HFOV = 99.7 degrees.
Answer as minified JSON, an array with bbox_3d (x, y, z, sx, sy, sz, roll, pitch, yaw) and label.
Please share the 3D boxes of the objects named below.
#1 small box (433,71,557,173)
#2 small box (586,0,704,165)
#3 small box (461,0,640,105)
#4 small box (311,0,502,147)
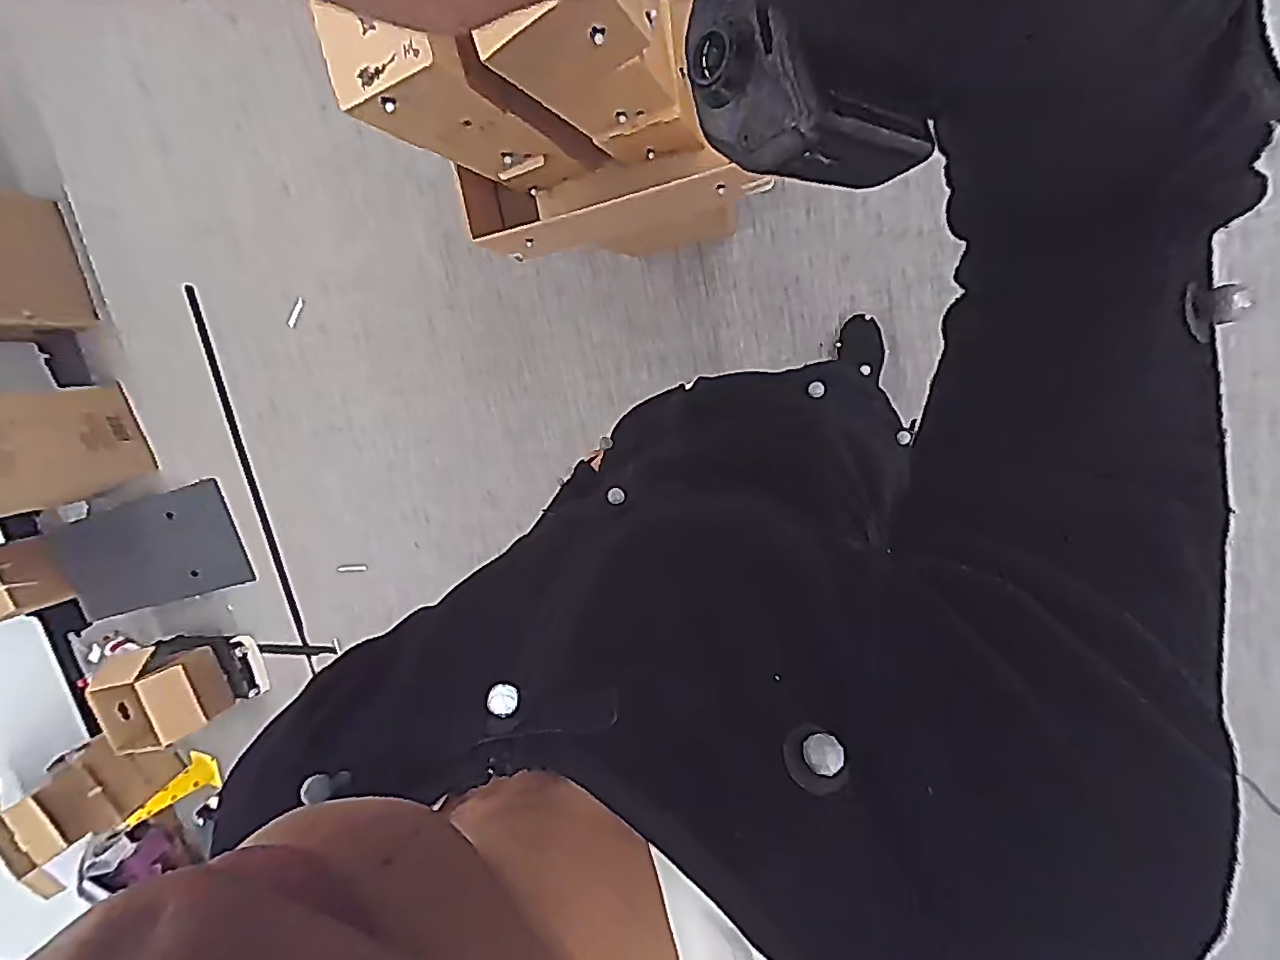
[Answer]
[{"bbox_3d":[-0.262,-0.655,0.914,0.168,0.176,0.179,-8,102,22],"label":"small box"},{"bbox_3d":[0.011,-0.706,0.982,0.168,0.176,0.179,-2,104,24],"label":"small box"},{"bbox_3d":[-0.115,-0.629,0.688,0.179,0.176,0.168,-15,97,25],"label":"small box"},{"bbox_3d":[-0.323,-0.615,0.765,0.168,0.176,0.179,-8,100,23],"label":"small box"}]
